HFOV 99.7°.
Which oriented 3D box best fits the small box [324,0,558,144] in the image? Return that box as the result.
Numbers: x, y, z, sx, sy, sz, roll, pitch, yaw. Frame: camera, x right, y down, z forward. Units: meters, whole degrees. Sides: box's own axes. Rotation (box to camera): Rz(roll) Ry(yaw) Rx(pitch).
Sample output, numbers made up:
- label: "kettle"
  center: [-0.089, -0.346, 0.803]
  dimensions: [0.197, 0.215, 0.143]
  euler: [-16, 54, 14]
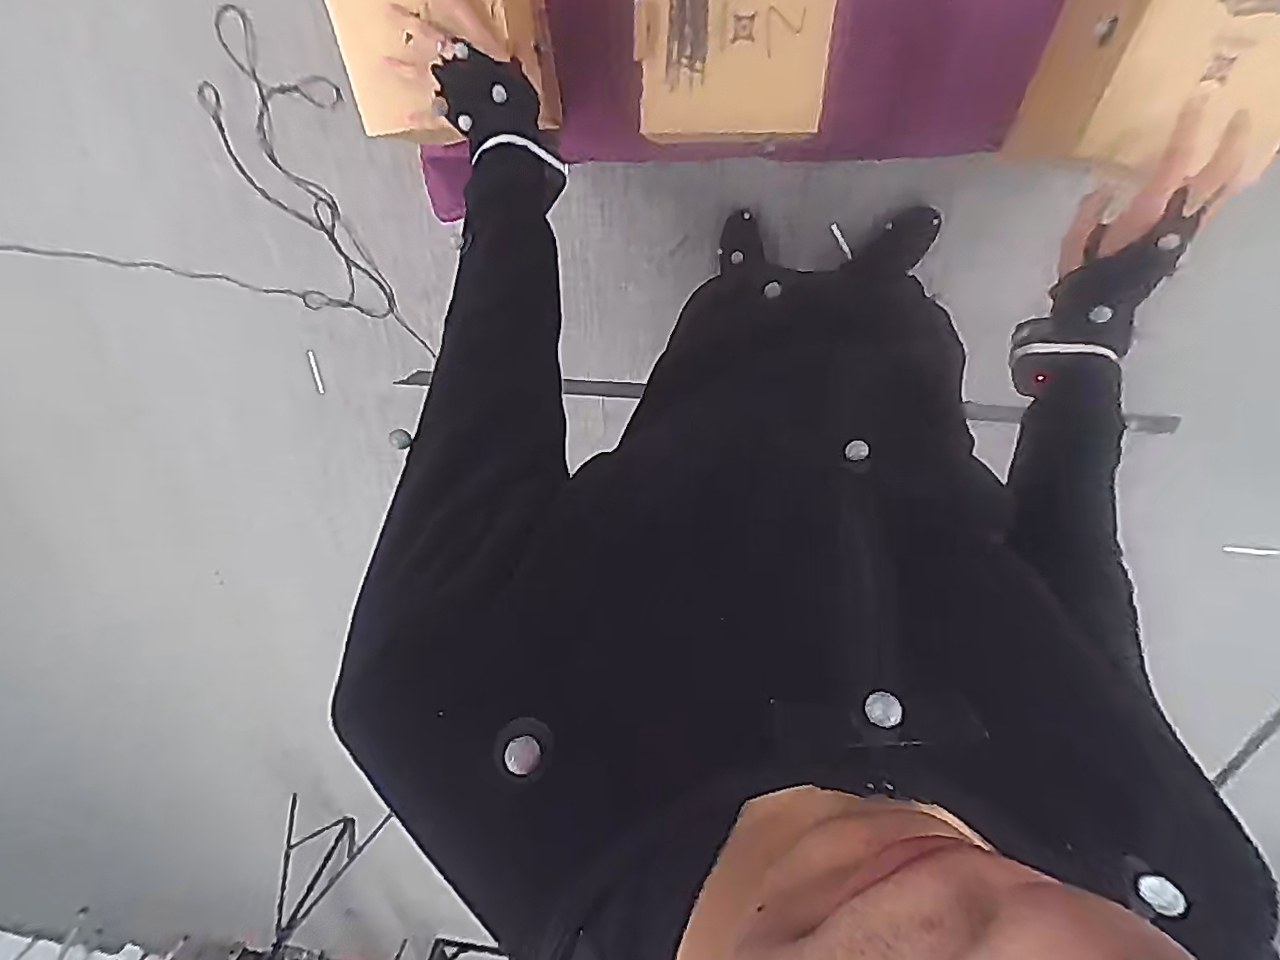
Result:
- label: "small box"
  center: [-0.207, -0.479, 0.594]
  dimensions: [0.179, 0.176, 0.168]
  euler: [-3, 119, 9]
